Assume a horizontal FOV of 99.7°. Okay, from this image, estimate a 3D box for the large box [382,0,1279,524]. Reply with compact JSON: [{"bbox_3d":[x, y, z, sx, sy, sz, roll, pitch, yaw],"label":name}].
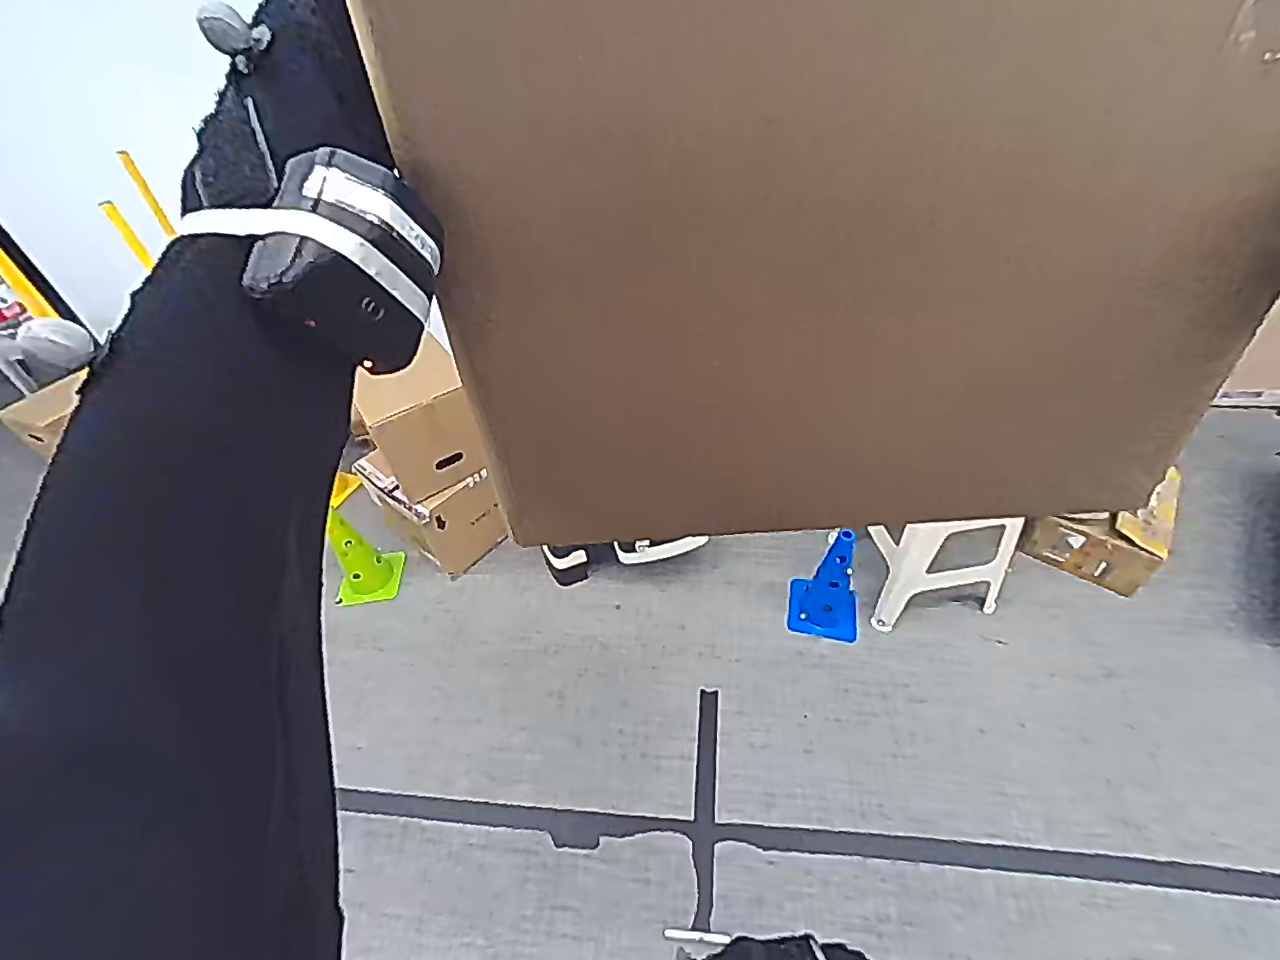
[{"bbox_3d":[0.100,-0.189,0.384,0.408,0.320,0.320,-3,37,1],"label":"large box"}]
